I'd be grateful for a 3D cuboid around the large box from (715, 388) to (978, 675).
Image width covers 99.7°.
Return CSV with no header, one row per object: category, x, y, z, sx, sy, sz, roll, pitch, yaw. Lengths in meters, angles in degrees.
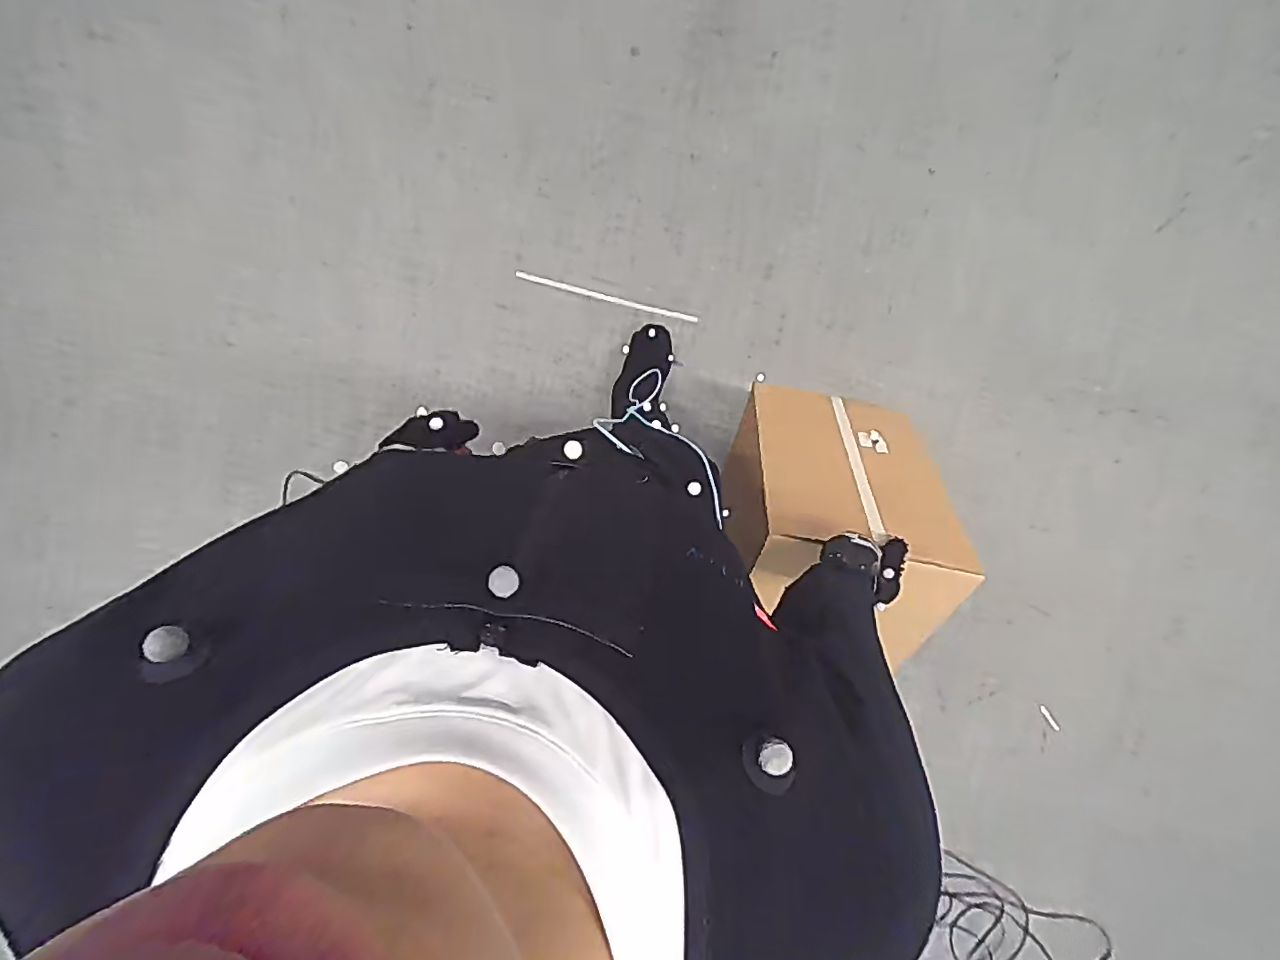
large box,0.323,0.086,0.999,0.320,0.408,0.320,12,130,-2
